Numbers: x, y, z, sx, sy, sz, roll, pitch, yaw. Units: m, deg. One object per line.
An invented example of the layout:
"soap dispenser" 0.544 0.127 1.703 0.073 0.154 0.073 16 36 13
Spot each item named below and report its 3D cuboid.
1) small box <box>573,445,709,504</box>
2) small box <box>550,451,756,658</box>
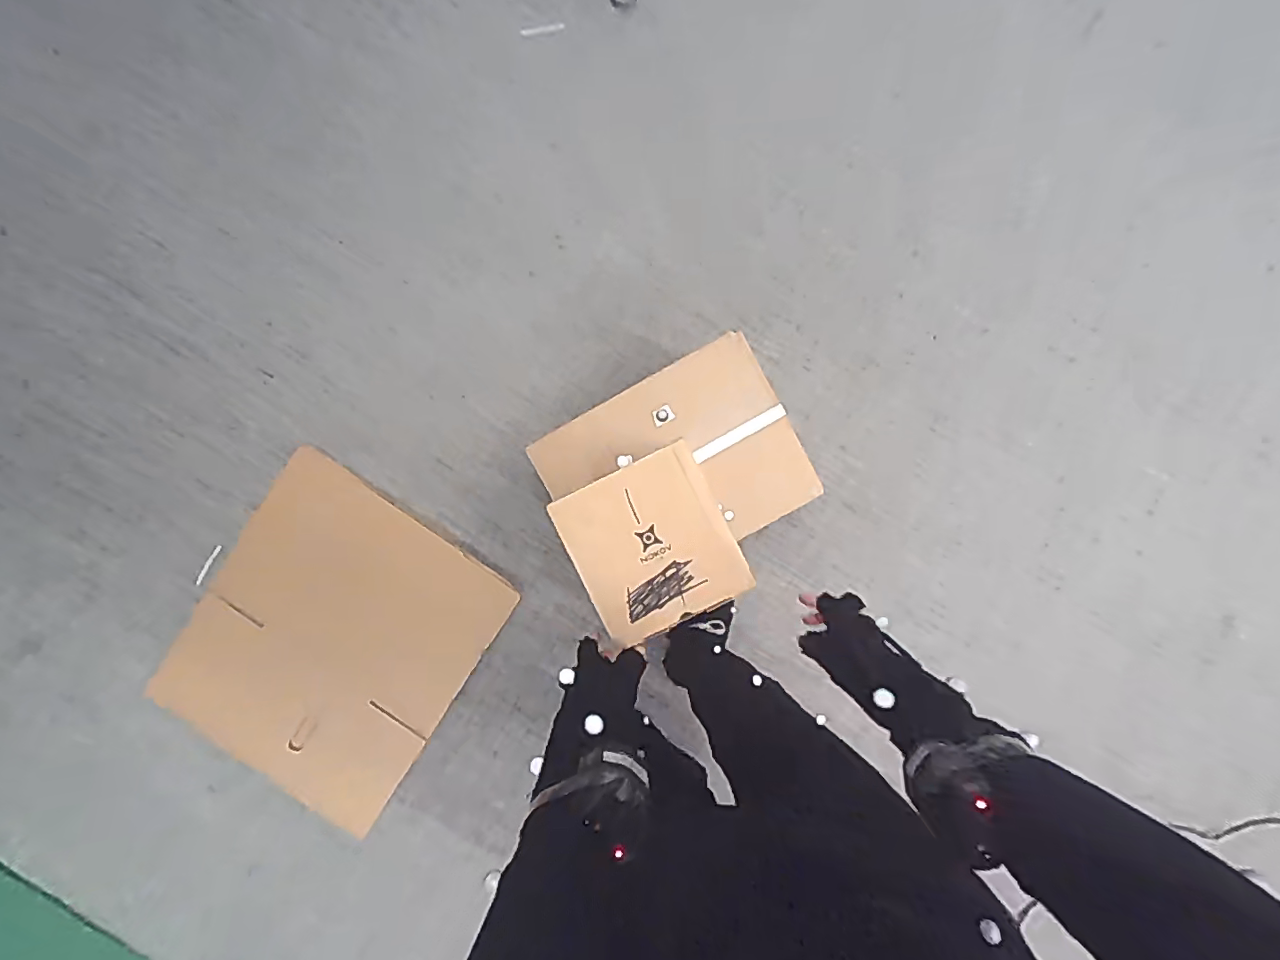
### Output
"small box" 0.021 0.061 0.823 0.179 0.176 0.168 -24 88 2
"small box" 0.018 0.076 0.656 0.168 0.176 0.179 -30 91 3
